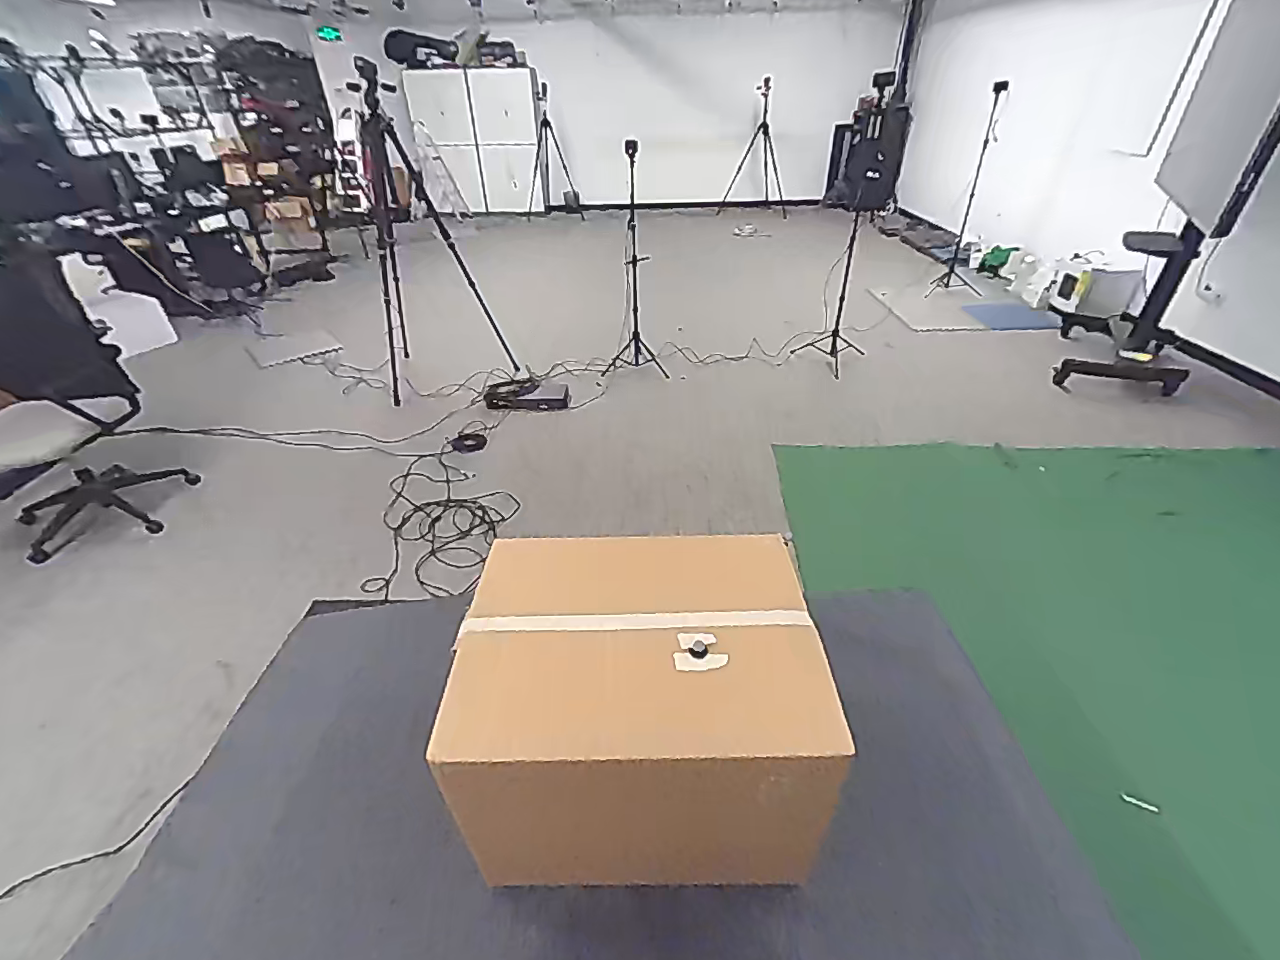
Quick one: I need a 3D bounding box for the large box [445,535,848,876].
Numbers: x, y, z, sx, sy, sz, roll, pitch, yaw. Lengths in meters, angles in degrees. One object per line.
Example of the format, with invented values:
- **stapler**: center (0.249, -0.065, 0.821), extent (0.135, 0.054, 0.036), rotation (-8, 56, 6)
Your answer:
- **large box**: center (0.005, 0.292, 0.729), extent (0.408, 0.320, 0.320), rotation (-1, 36, 0)
